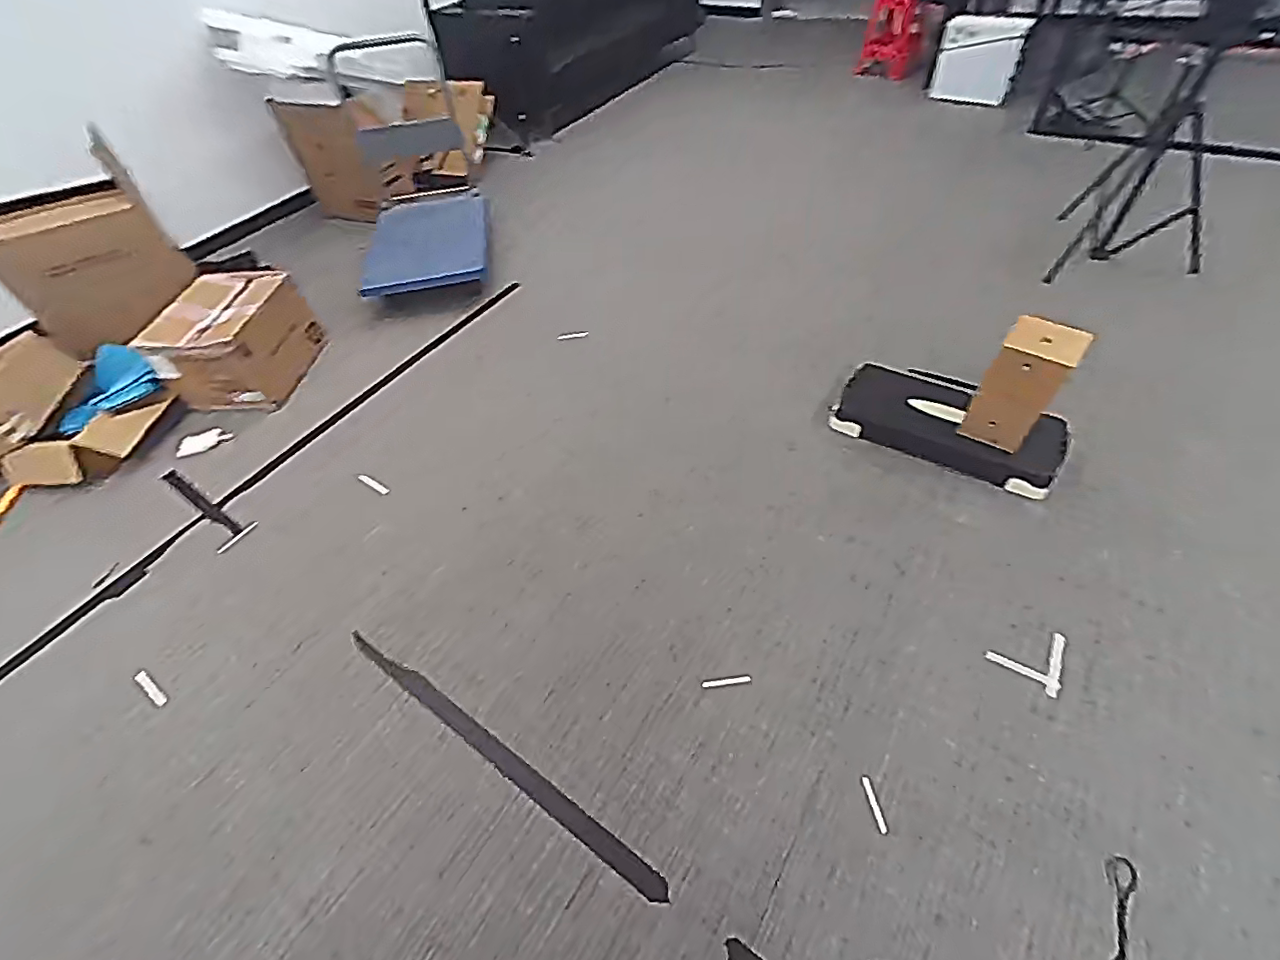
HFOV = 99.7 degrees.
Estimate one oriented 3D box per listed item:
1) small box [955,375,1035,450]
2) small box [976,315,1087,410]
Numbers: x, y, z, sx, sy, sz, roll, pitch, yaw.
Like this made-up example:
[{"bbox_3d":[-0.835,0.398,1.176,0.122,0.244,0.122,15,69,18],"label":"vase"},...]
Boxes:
[{"bbox_3d":[1.079,-0.221,1.625,0.168,0.176,0.179,28,59,26],"label":"small box"},{"bbox_3d":[1.074,-0.320,1.495,0.179,0.176,0.168,30,61,29],"label":"small box"}]
